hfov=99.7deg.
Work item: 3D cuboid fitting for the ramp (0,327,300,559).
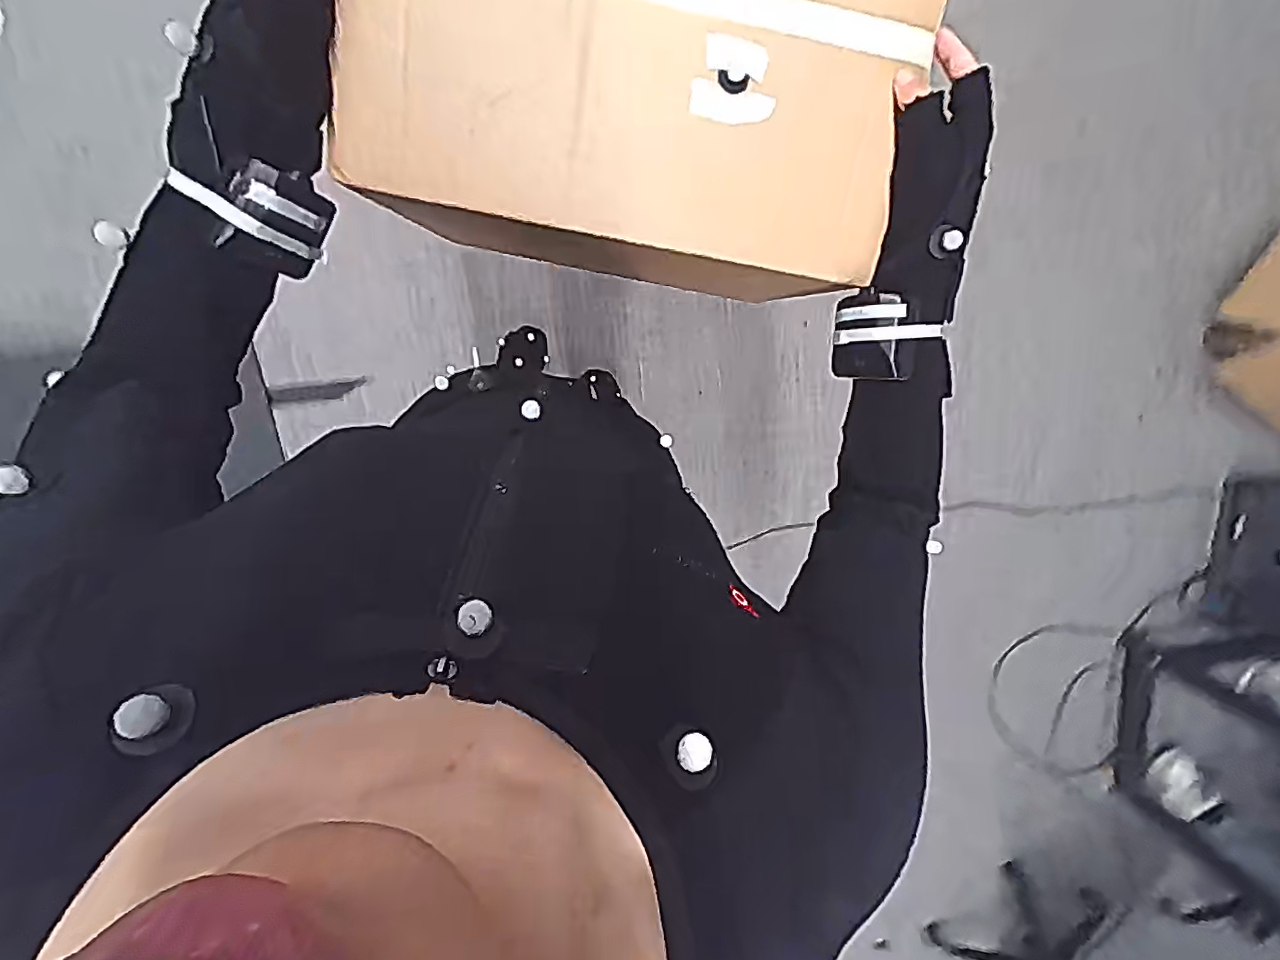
[{"bbox_3d":[-1.418,-0.071,1.291,0.991,0.206,0.509,-9,102,-3],"label":"ramp"}]

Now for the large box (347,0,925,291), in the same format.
[{"bbox_3d":[-0.008,-0.378,0.517,0.408,0.320,0.320,7,106,-7],"label":"large box"}]
